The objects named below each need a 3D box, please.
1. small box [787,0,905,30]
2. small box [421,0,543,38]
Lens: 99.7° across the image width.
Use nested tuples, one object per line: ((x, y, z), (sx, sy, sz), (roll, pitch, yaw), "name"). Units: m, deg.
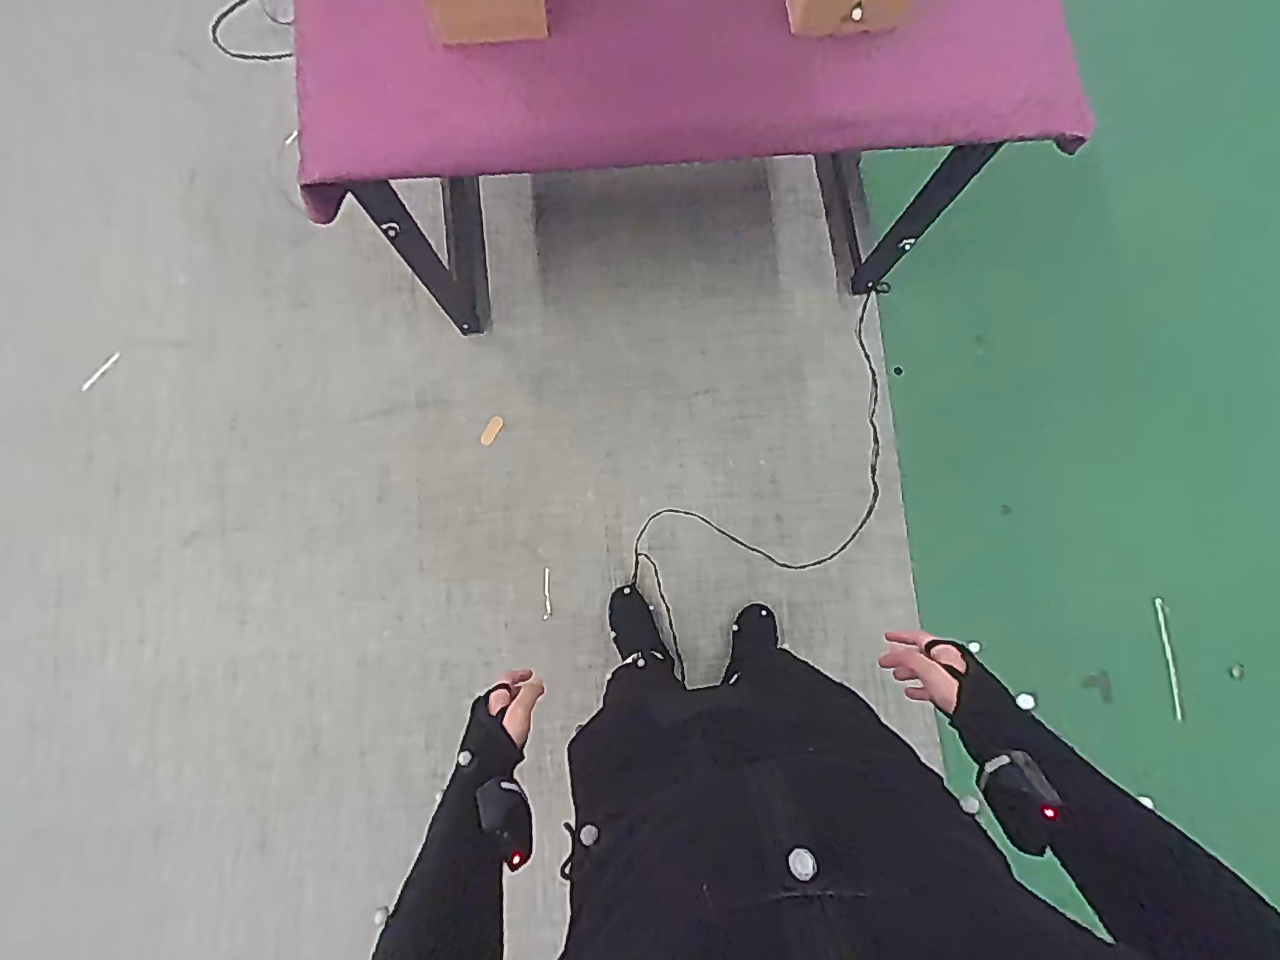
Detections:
((0.318, -0.801, 0.782), (0.179, 0.176, 0.168), (-6, 83, -1), "small box")
((-0.237, -0.779, 0.772), (0.179, 0.176, 0.168), (-5, 83, -2), "small box")
